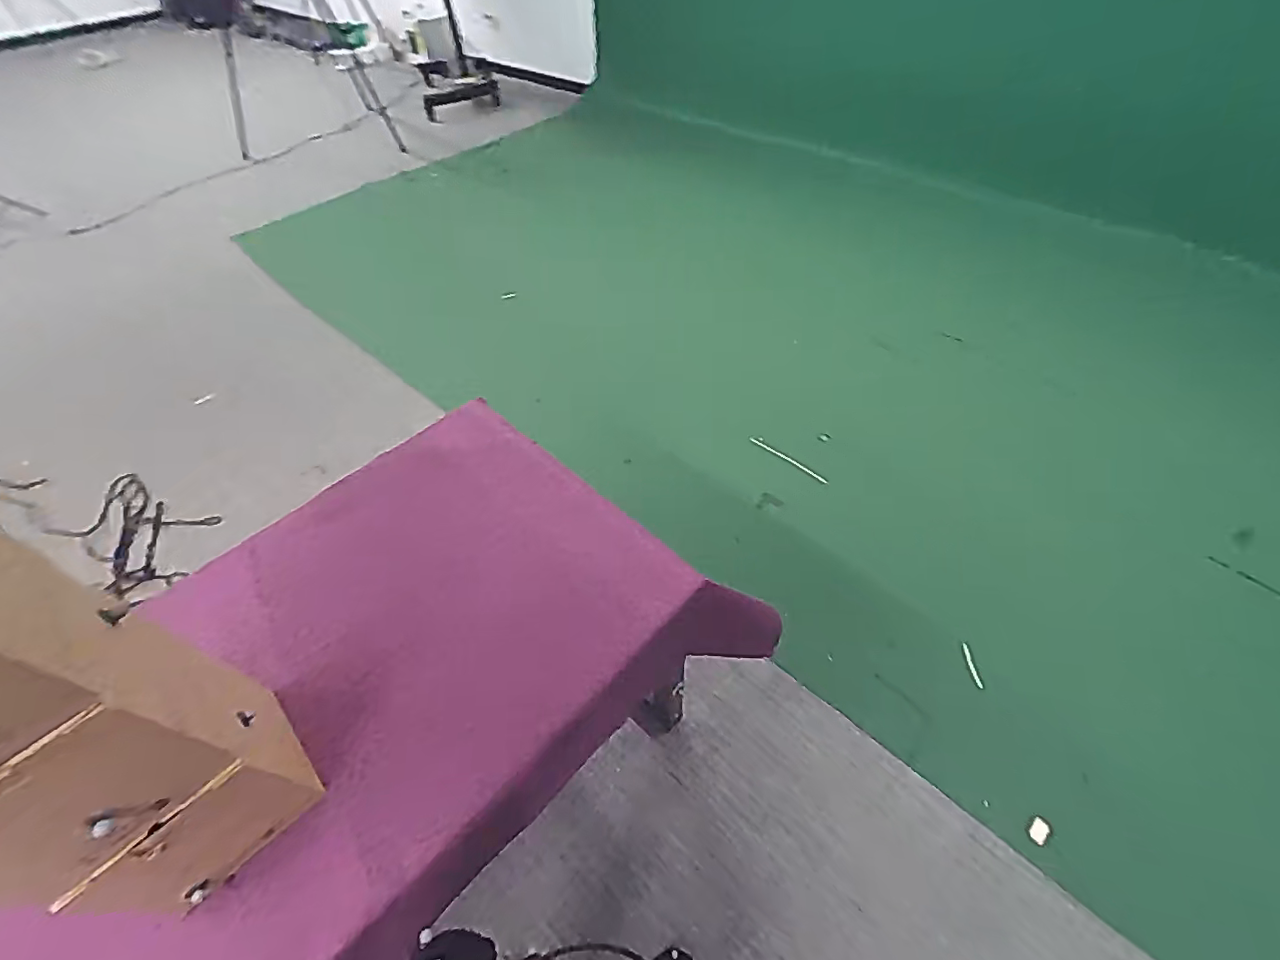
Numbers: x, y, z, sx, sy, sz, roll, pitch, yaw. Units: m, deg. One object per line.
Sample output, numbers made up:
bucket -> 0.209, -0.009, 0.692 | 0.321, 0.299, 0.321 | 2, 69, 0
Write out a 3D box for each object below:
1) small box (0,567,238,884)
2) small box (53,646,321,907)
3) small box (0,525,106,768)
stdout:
small box -> -0.513, 0.219, 0.480 | 0.179, 0.176, 0.168 | 37, 61, 28
small box -> -0.500, 0.328, 0.603 | 0.179, 0.176, 0.168 | 36, 60, 29
small box -> -0.522, 0.112, 0.356 | 0.179, 0.176, 0.168 | 36, 61, 28
